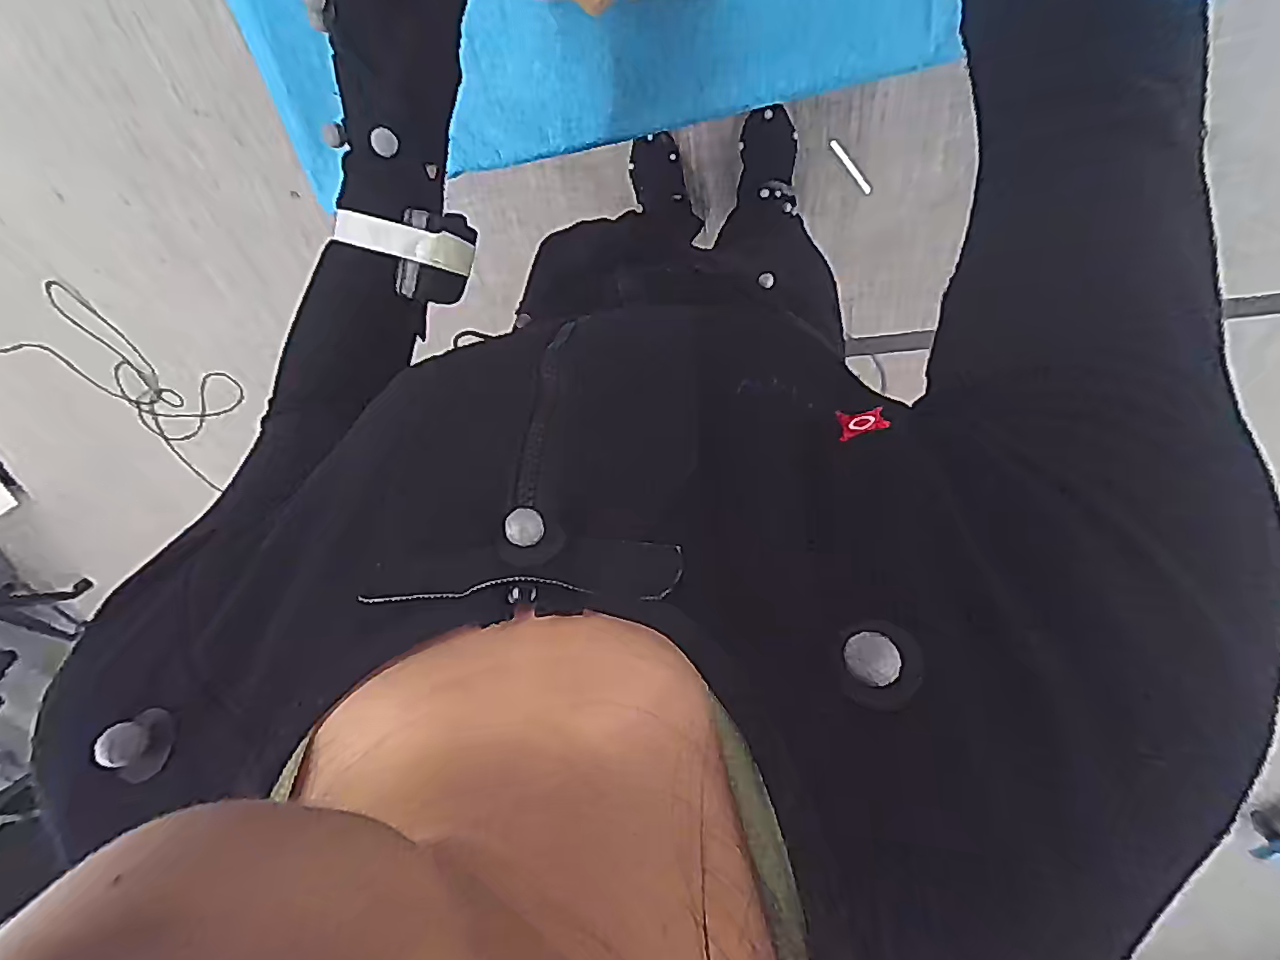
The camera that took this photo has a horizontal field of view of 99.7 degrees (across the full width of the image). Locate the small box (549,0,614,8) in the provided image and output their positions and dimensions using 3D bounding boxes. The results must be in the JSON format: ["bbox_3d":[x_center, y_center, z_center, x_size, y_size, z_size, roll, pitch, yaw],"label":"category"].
[{"bbox_3d":[-0.018,-0.456,0.369,0.168,0.176,0.179,-2,126,6],"label":"small box"}]
